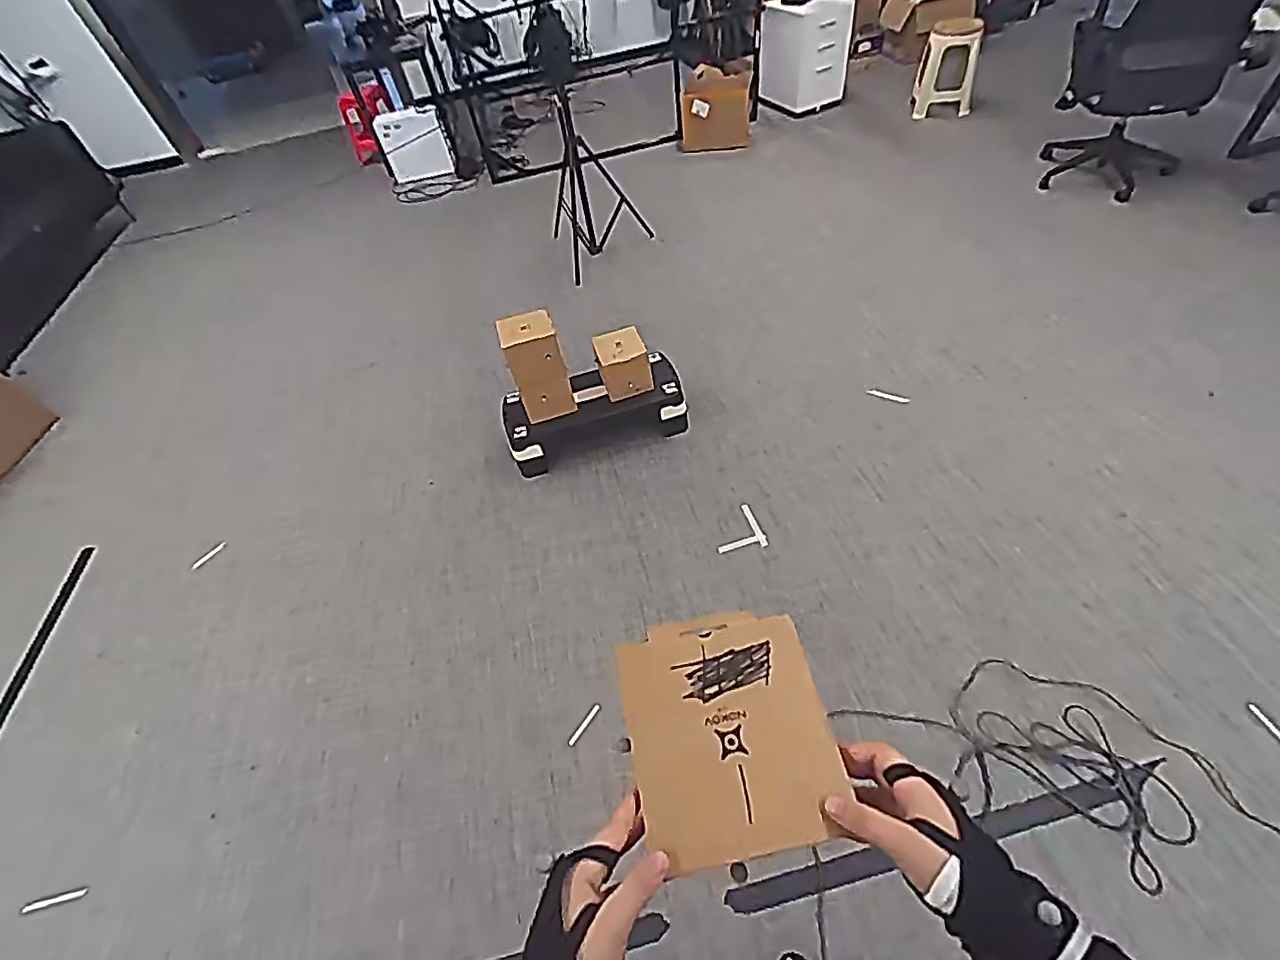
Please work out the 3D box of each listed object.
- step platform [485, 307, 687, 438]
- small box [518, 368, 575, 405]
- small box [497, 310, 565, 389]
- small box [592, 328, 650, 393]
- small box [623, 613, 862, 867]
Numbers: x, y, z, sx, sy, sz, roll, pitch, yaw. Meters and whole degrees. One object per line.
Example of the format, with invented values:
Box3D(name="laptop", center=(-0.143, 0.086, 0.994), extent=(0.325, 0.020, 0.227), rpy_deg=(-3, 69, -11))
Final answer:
Box3D(name="step platform", center=(-0.183, -0.376, 1.903), extent=(0.684, 0.204, 0.286), rpy_deg=(-16, 49, -5))
Box3D(name="small box", center=(-0.339, -0.333, 1.941), extent=(0.179, 0.176, 0.168), rpy_deg=(-18, 50, -5))
Box3D(name="small box", center=(-0.361, -0.436, 1.816), extent=(0.179, 0.176, 0.168), rpy_deg=(-19, 49, -6))
Box3D(name="small box", center=(-0.063, -0.419, 1.963), extent=(0.168, 0.176, 0.179), rpy_deg=(-18, 50, -4))
Box3D(name="small box", center=(0.078, 0.252, 0.519), extent=(0.168, 0.176, 0.179), rpy_deg=(-9, 55, -5))
